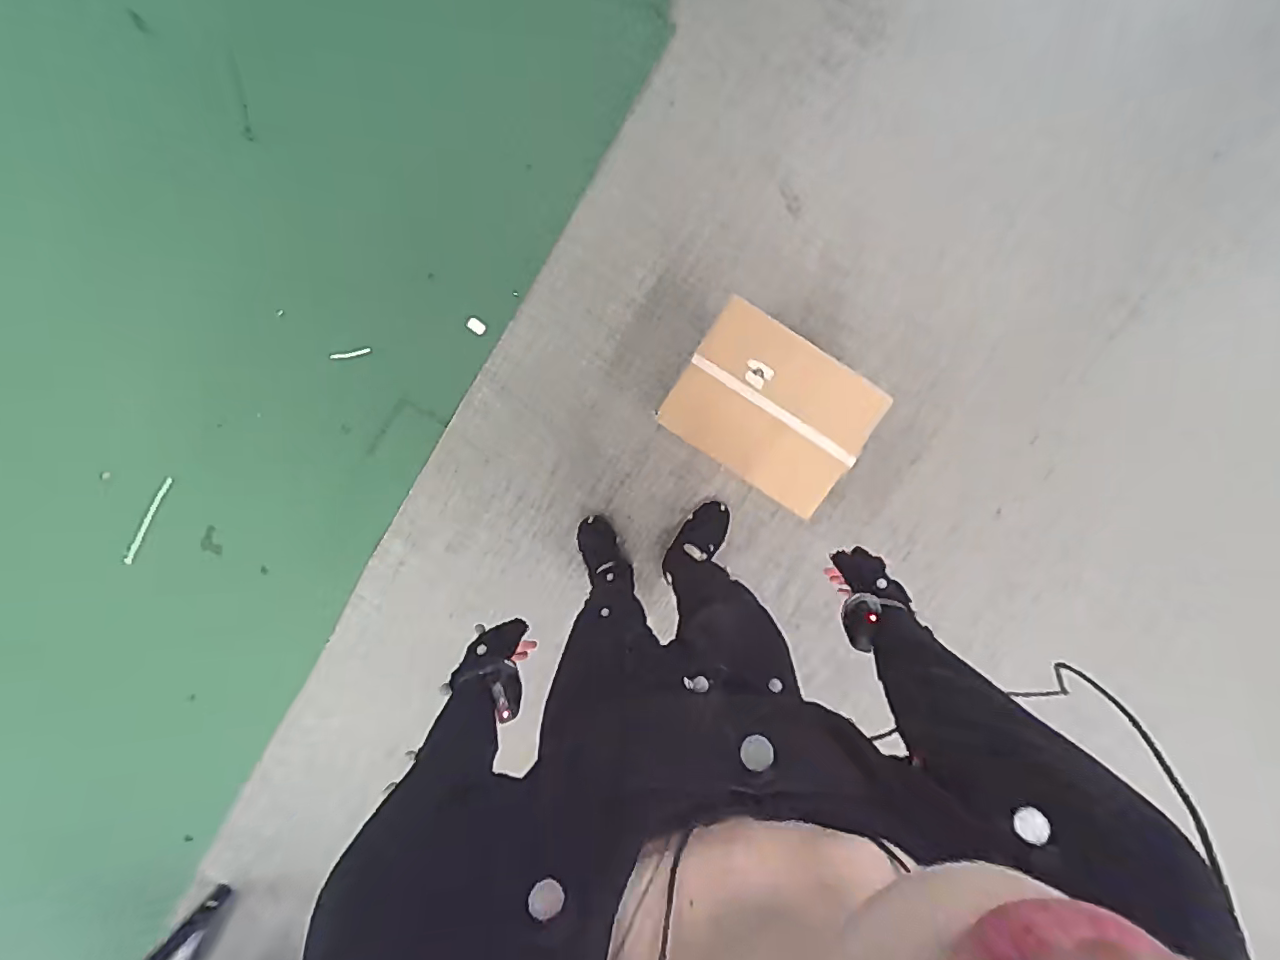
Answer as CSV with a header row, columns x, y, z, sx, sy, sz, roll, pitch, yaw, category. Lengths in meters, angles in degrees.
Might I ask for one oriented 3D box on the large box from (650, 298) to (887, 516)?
x,y,z,sx,sy,sz,roll,pitch,yaw,category
0.284,-0.165,1.290,0.408,0.320,0.320,34,97,2,large box
